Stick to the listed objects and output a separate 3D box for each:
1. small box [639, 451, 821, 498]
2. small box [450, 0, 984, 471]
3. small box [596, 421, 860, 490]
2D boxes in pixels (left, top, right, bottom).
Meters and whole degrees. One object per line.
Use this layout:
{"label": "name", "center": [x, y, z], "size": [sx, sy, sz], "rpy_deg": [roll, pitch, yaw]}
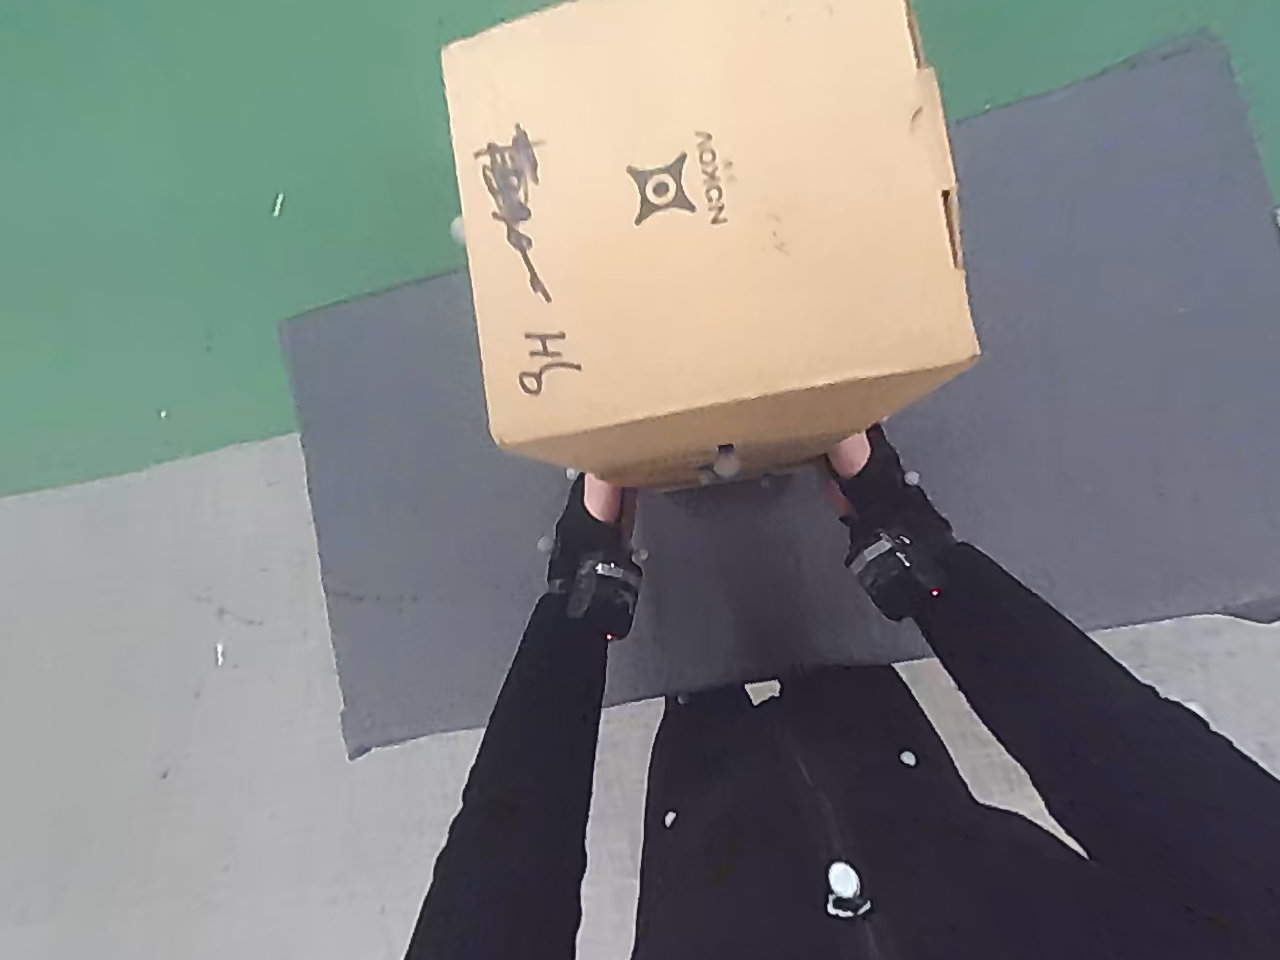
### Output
{"label": "small box", "center": [0.087, -0.074, 0.599], "size": [0.179, 0.176, 0.168], "rpy_deg": [-10, 84, 10]}
{"label": "small box", "center": [0.031, -0.102, 0.277], "size": [0.179, 0.176, 0.168], "rpy_deg": [-10, 84, 8]}
{"label": "small box", "center": [0.056, -0.088, 0.437], "size": [0.179, 0.176, 0.168], "rpy_deg": [-10, 84, 8]}
